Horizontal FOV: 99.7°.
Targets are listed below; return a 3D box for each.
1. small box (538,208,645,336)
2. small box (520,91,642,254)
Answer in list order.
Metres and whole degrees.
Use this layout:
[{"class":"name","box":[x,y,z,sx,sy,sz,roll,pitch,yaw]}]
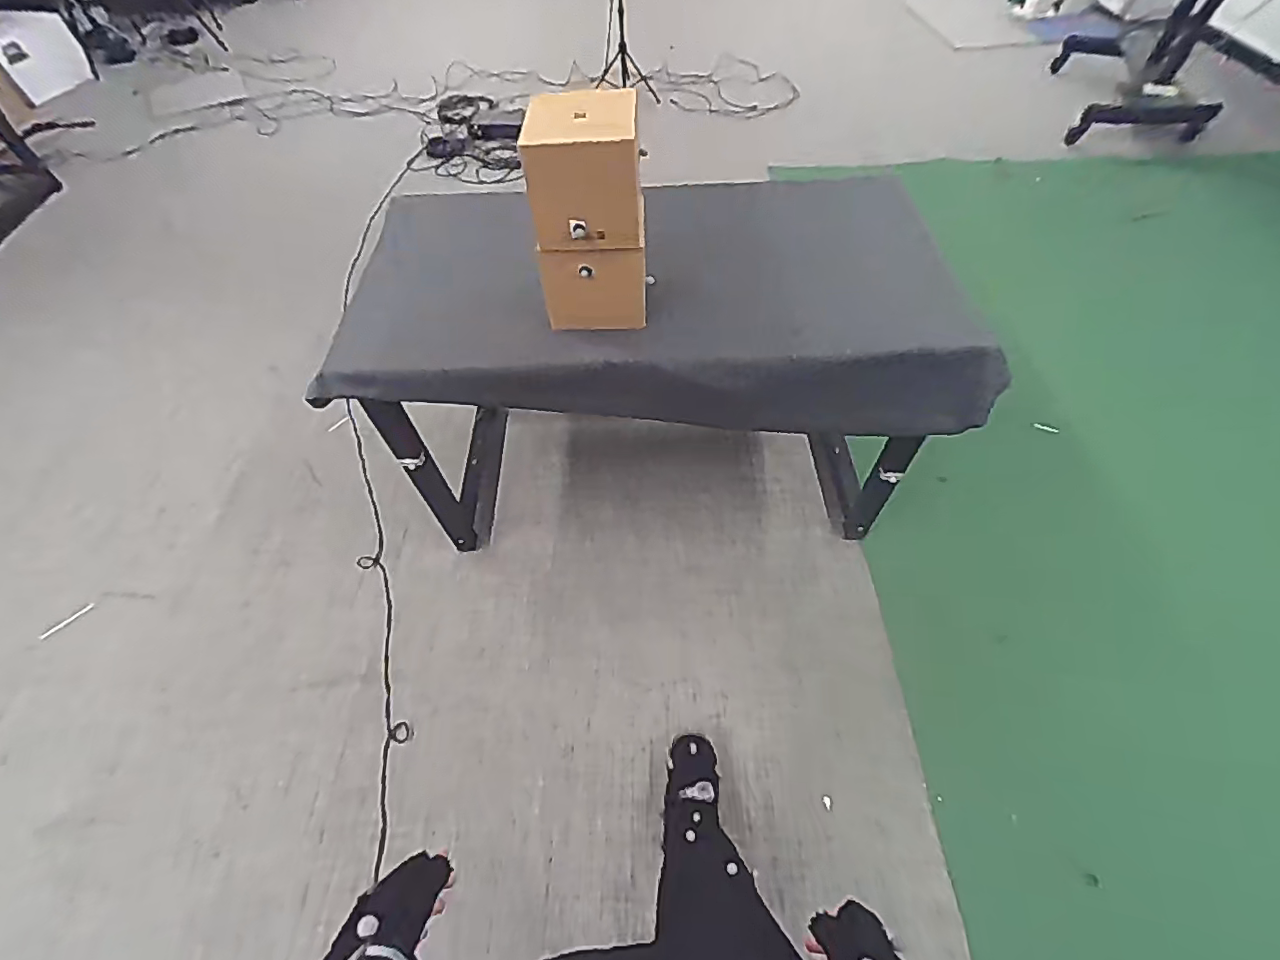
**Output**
[{"class":"small box","box":[-0.080,-0.385,1.009,0.179,0.176,0.168,0,56,1]},{"class":"small box","box":[-0.084,-0.486,0.862,0.168,0.176,0.179,-2,56,2]}]
